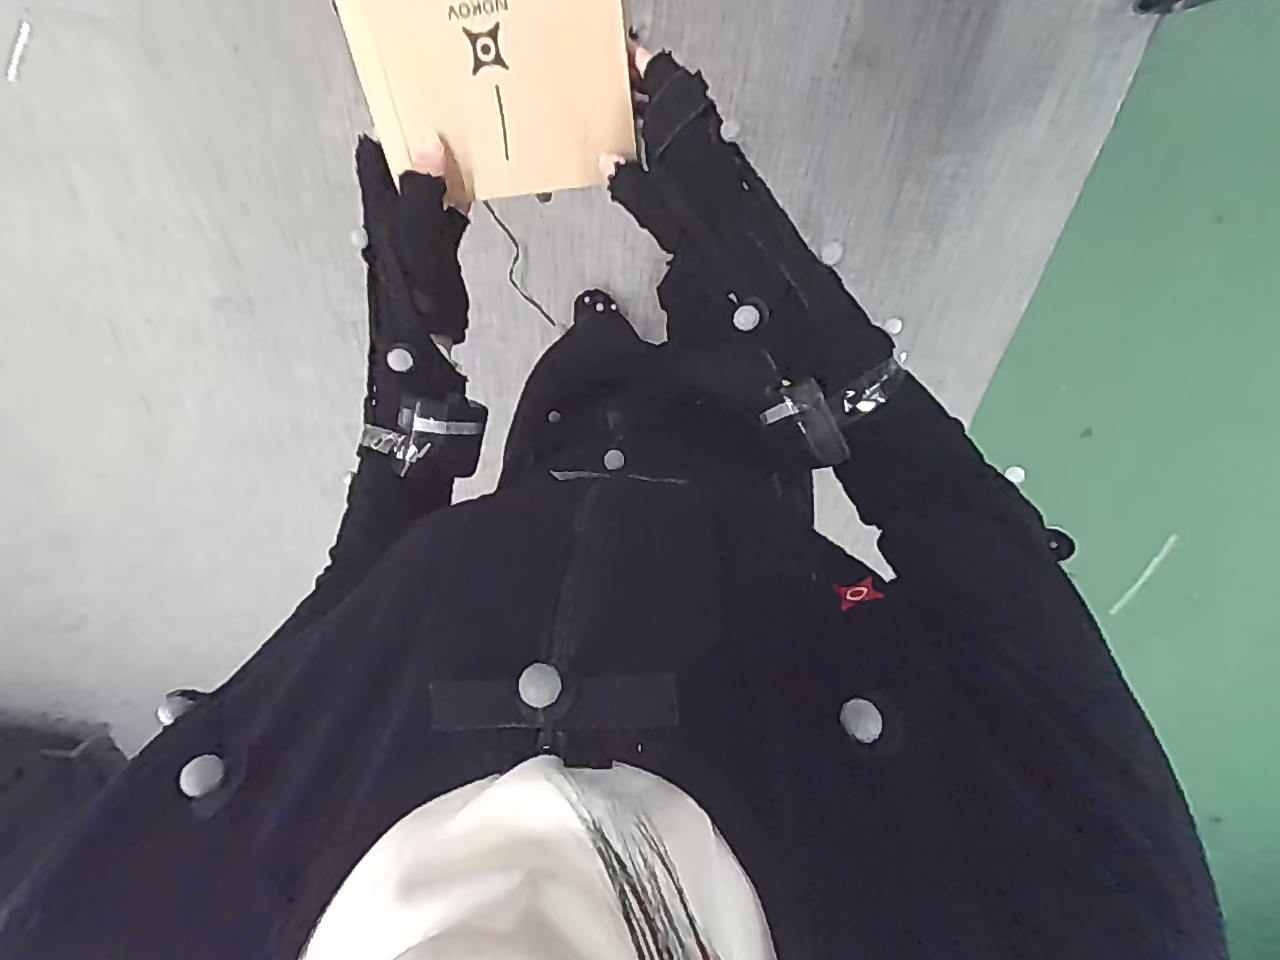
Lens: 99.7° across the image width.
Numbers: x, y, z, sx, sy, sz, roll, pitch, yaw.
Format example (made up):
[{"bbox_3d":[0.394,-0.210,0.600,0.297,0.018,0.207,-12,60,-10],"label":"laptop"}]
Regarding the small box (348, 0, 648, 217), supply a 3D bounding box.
[{"bbox_3d":[-0.084,-0.303,0.391,0.168,0.176,0.179,-5,123,5],"label":"small box"}]
